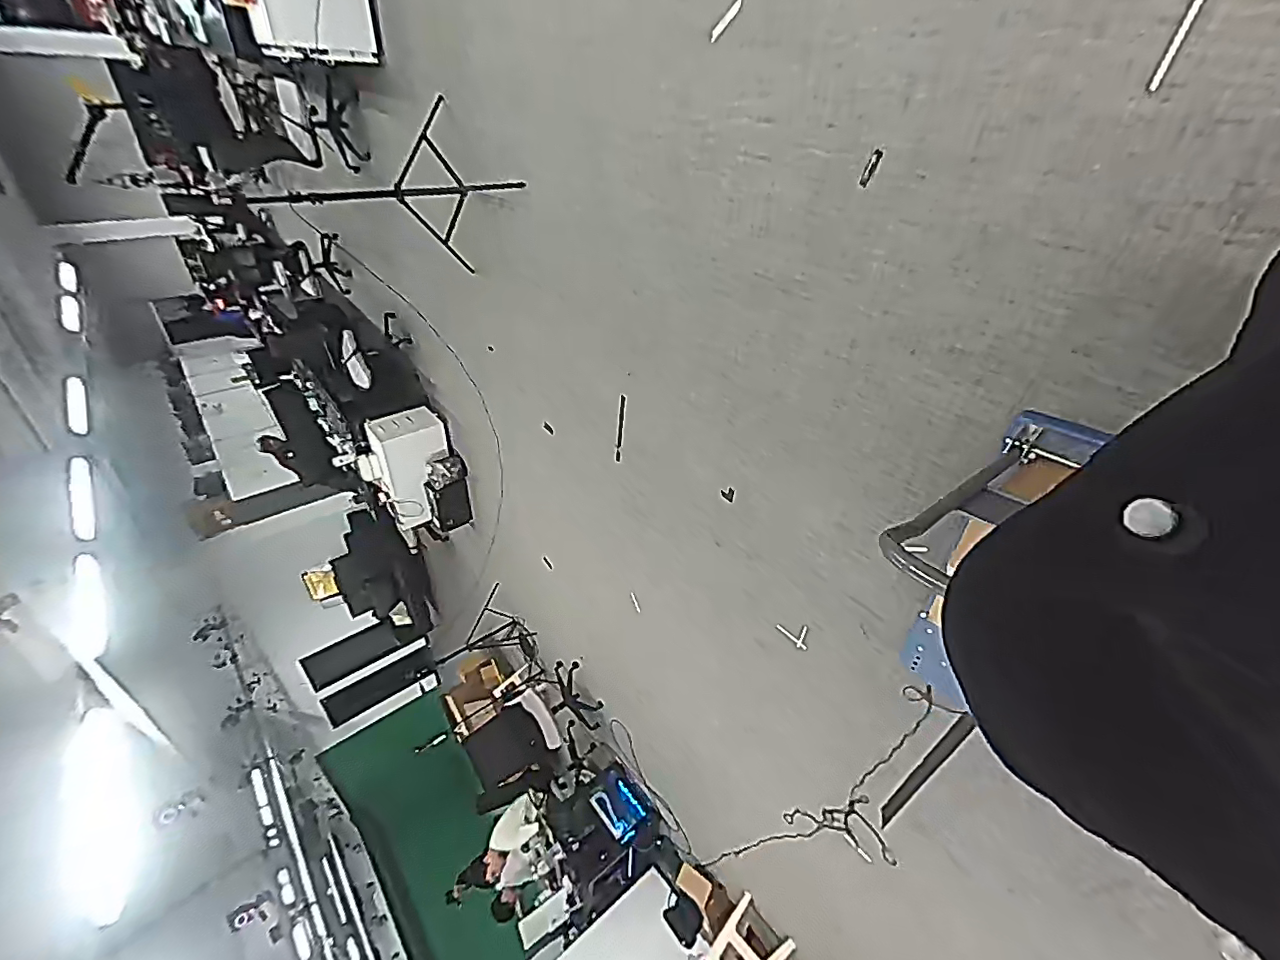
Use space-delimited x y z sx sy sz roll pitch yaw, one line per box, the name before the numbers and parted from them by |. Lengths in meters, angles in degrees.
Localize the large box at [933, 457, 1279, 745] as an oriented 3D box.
large box | 0.887 0.205 1.062 0.408 0.320 0.320 35 136 40
